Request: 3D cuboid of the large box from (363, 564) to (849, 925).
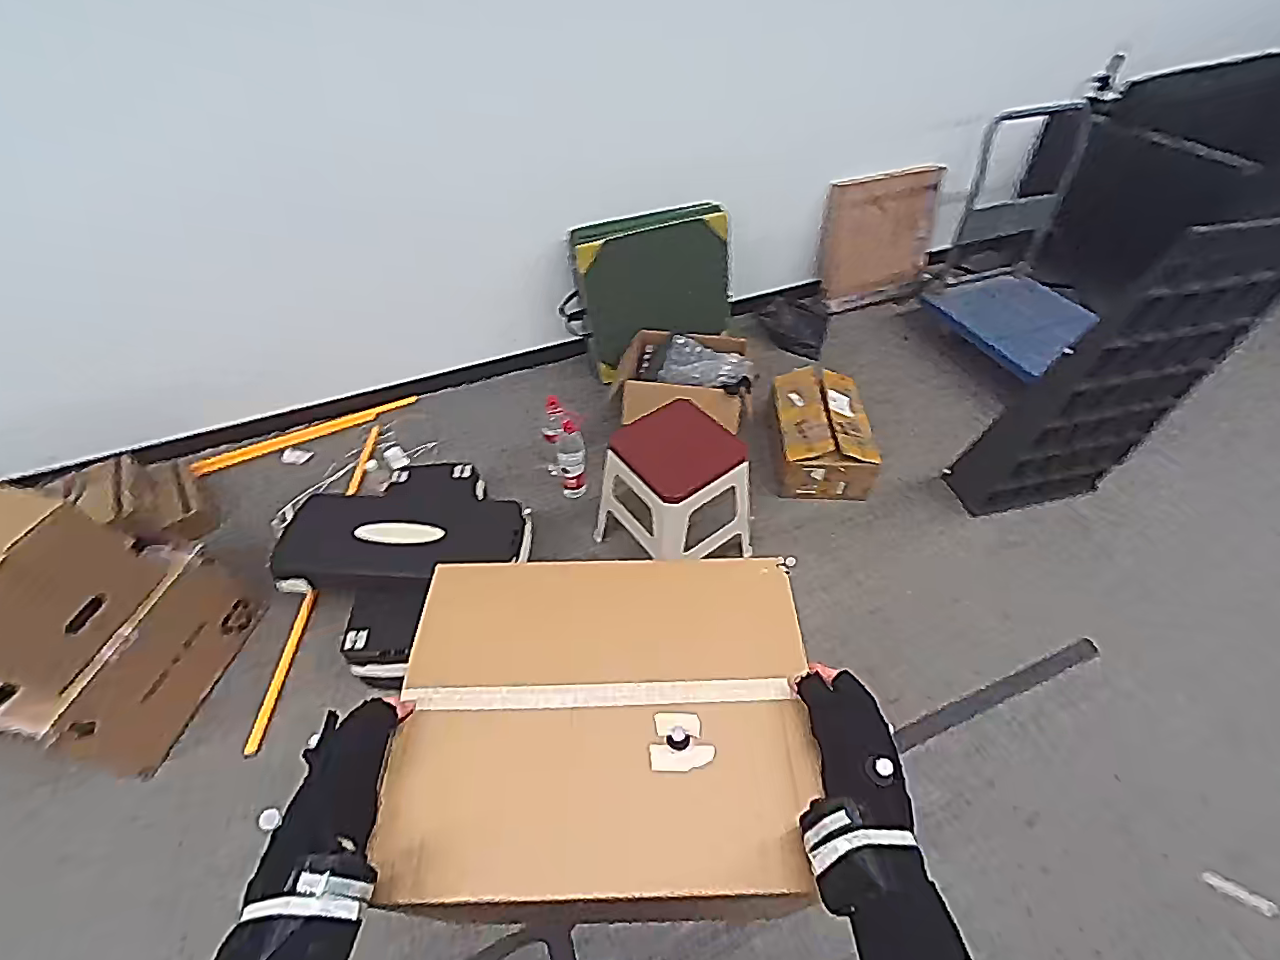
[{"bbox_3d":[-0.030,0.315,0.644,0.408,0.320,0.320,0,48,0],"label":"large box"}]
